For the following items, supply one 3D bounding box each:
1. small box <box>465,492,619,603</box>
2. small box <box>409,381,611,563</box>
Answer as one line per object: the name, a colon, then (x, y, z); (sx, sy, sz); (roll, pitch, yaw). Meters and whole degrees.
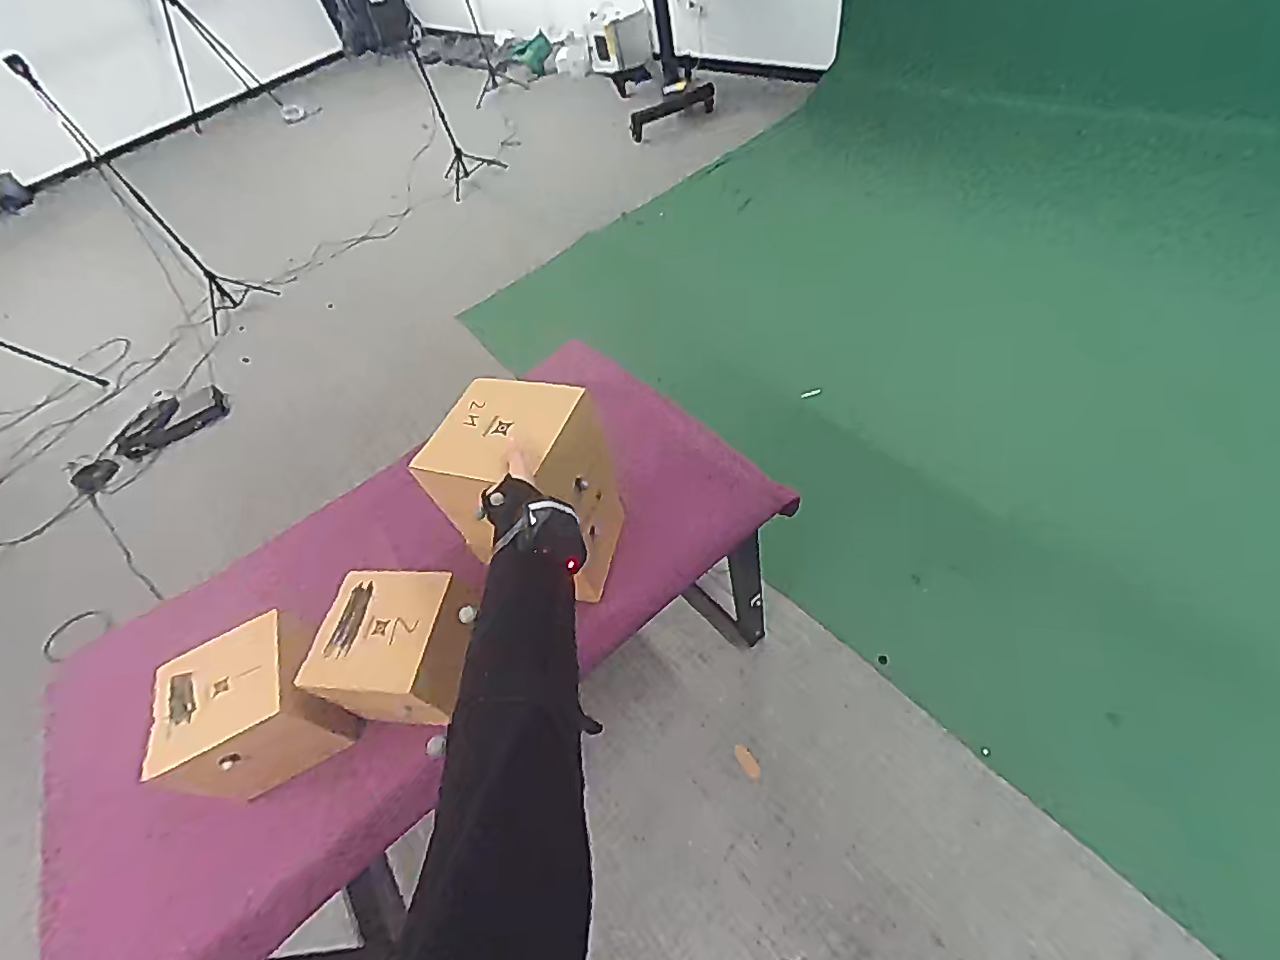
small box: (-0.143, 0.080, 0.868); (0.168, 0.176, 0.179); (3, 53, 17)
small box: (-0.157, -0.009, 0.725); (0.179, 0.176, 0.168); (10, 53, 23)
